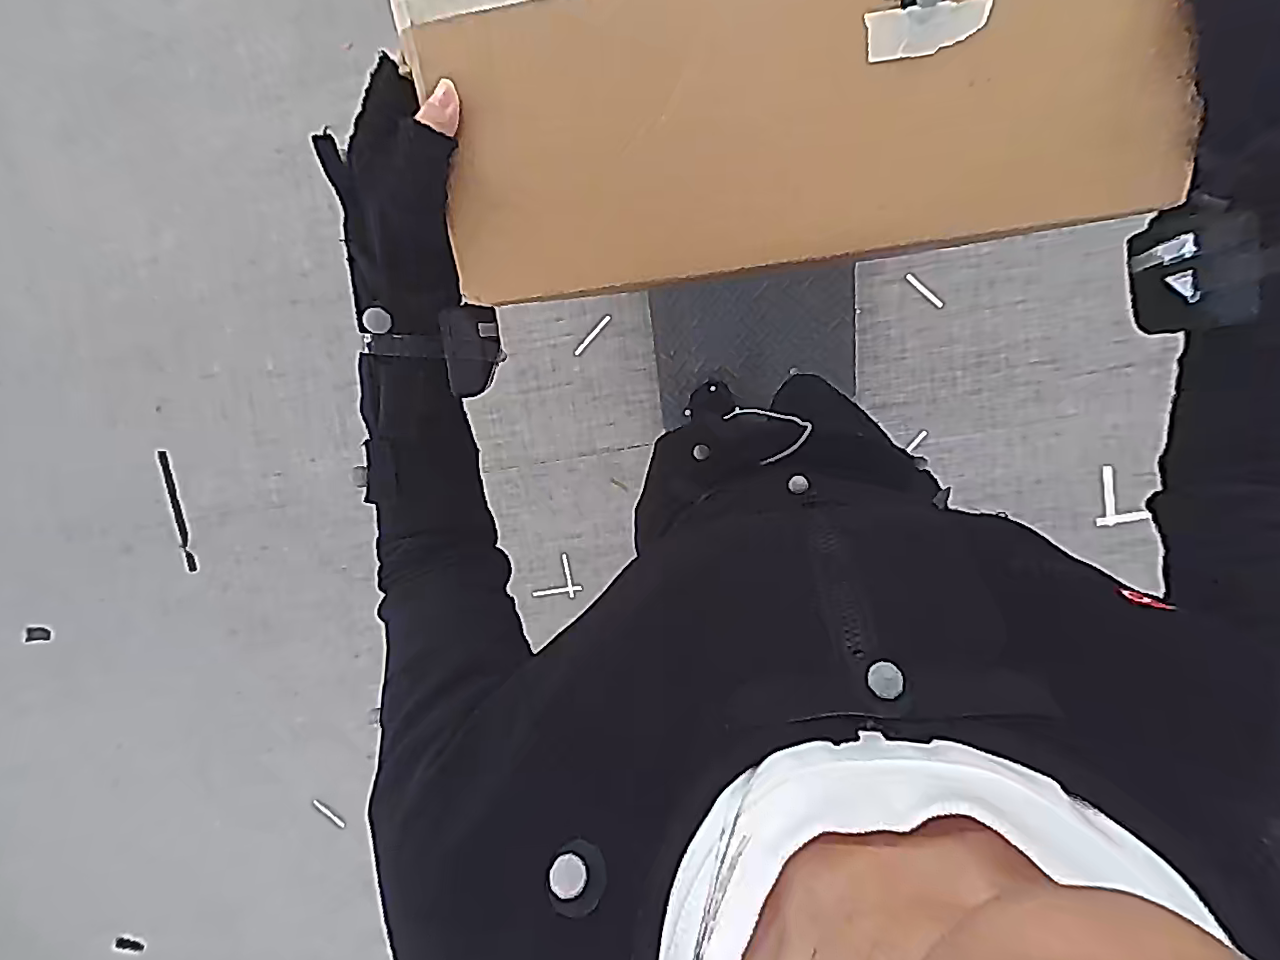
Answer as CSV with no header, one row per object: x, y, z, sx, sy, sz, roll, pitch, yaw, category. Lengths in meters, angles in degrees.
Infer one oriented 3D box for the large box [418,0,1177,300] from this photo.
0.080,-0.331,0.422,0.408,0.320,0.320,-6,109,7,large box
